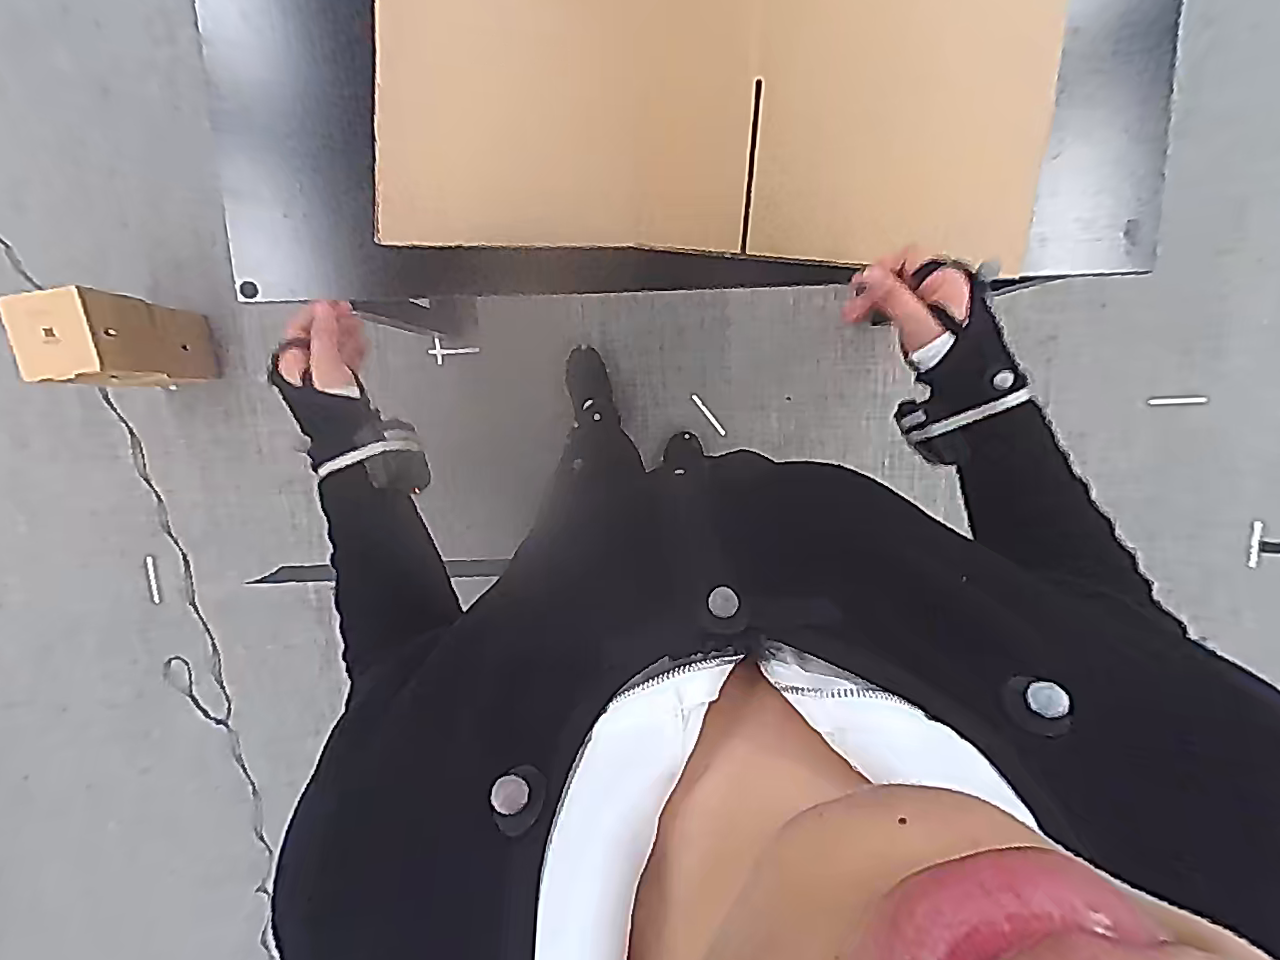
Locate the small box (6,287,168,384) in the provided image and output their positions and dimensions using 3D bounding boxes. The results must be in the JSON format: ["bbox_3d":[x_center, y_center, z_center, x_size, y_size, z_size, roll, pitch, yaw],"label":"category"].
[{"bbox_3d":[-1.200,-0.308,1.191,0.168,0.176,0.179,-9,98,0],"label":"small box"}]

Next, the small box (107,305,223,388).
[{"bbox_3d":[-1.199,-0.327,1.353,0.168,0.176,0.179,-6,99,1],"label":"small box"}]
